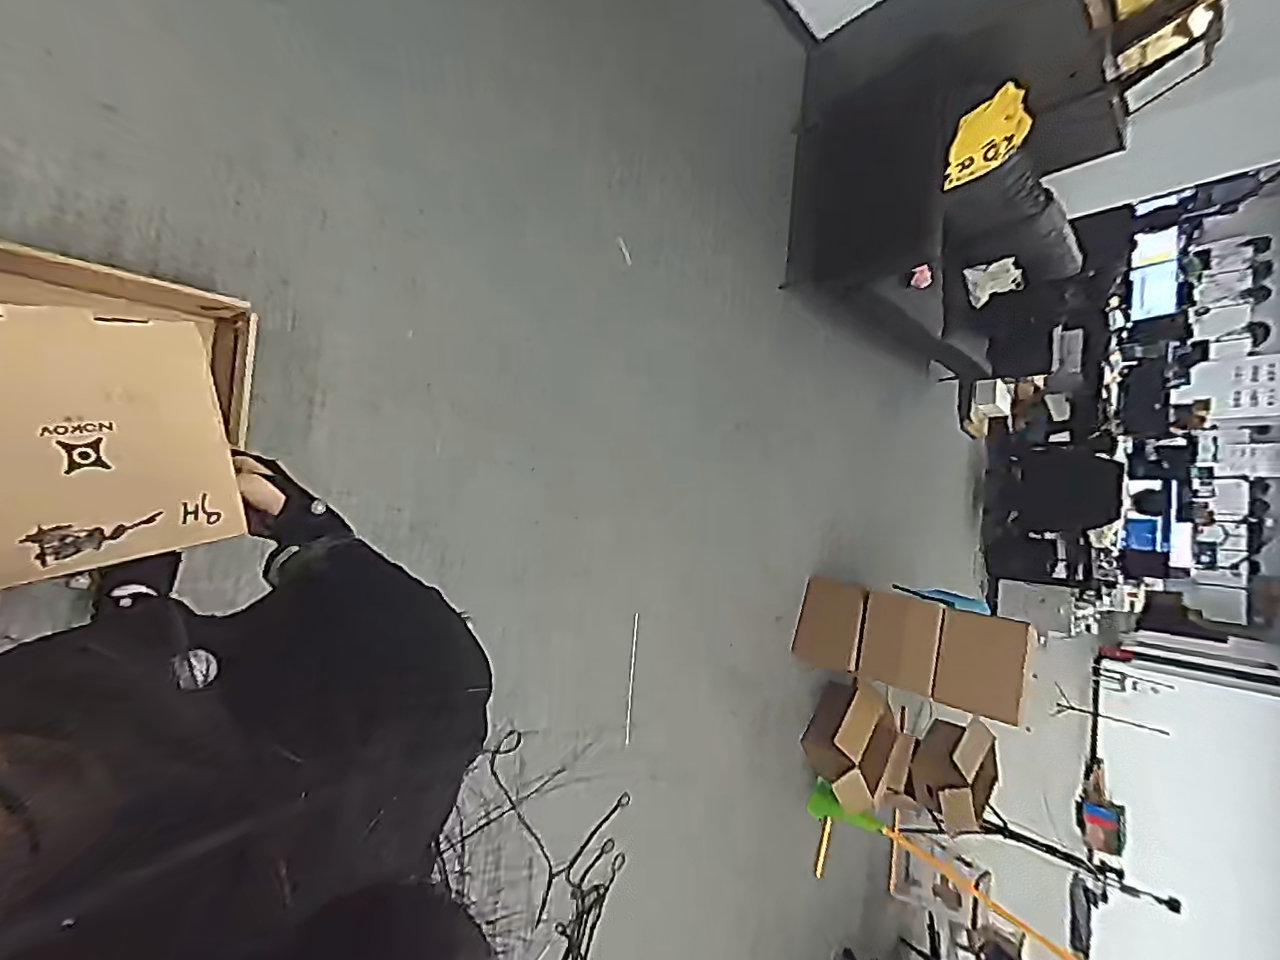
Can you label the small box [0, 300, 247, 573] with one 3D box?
[{"bbox_3d":[-0.451,-0.031,0.425,0.168,0.176,0.179,-18,101,-51],"label":"small box"}]
